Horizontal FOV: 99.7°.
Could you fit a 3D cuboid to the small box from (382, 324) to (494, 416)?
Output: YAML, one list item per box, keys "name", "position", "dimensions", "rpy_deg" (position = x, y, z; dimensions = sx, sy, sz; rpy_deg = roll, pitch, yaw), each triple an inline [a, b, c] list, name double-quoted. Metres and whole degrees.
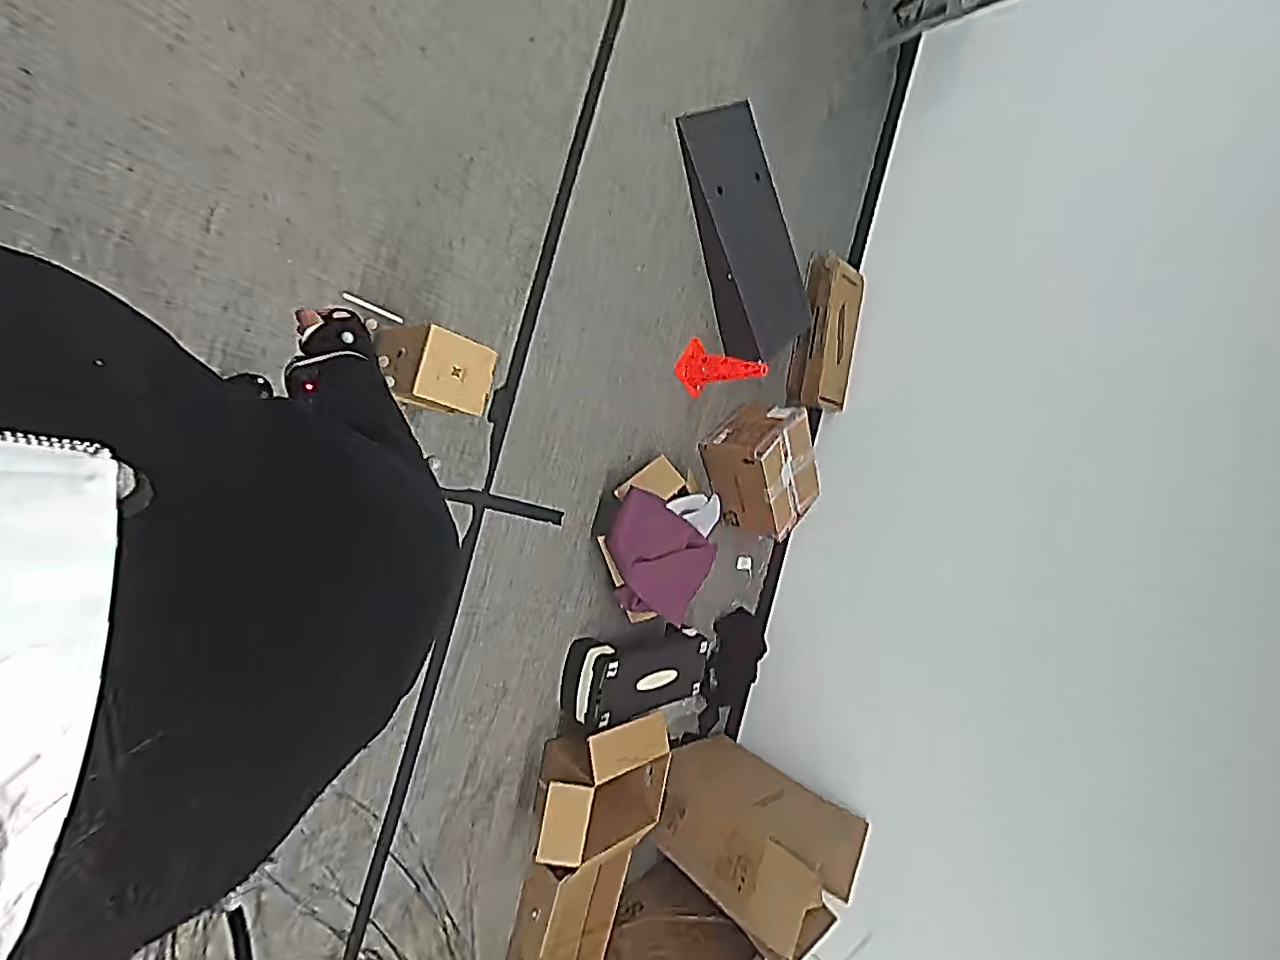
- name: "small box"
  position: [-0.489, -0.263, 1.305]
  dimensions: [0.179, 0.176, 0.168]
  rpy_deg: [17, 86, -46]

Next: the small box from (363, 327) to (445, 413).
- name: "small box"
  position: [-0.602, -0.286, 1.419]
  dimensions: [0.168, 0.176, 0.179]
  rpy_deg: [16, 88, -47]
